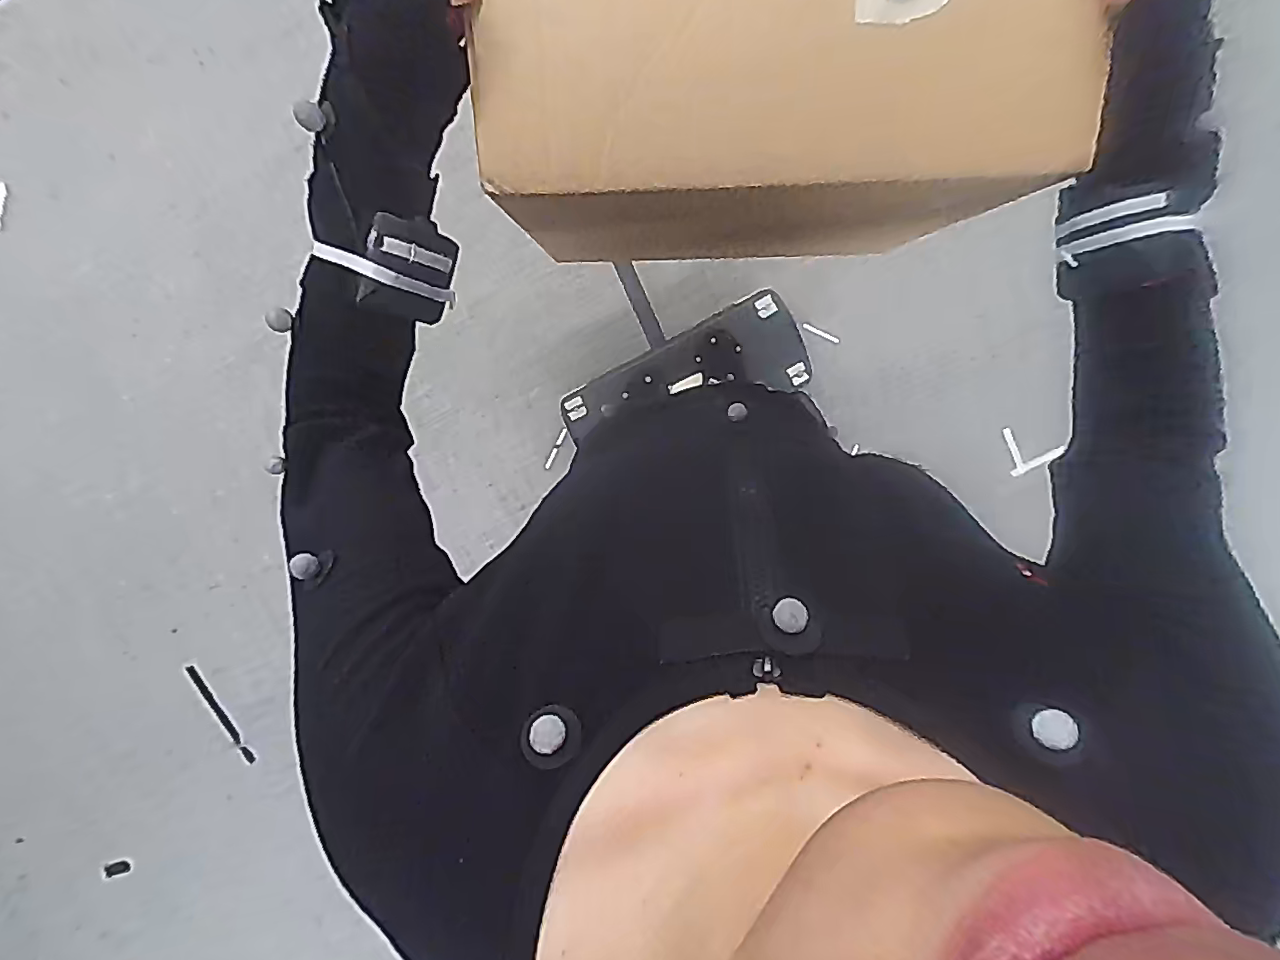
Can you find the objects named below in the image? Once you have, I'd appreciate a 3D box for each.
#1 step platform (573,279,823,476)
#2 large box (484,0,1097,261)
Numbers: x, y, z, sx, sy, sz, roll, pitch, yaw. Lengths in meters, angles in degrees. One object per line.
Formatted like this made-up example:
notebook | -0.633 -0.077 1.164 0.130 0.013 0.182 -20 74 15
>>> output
step platform | 0.155 -0.282 1.528 0.684 0.204 0.286 -29 101 4
large box | 0.092 -0.392 0.482 0.408 0.320 0.320 -2 104 0
